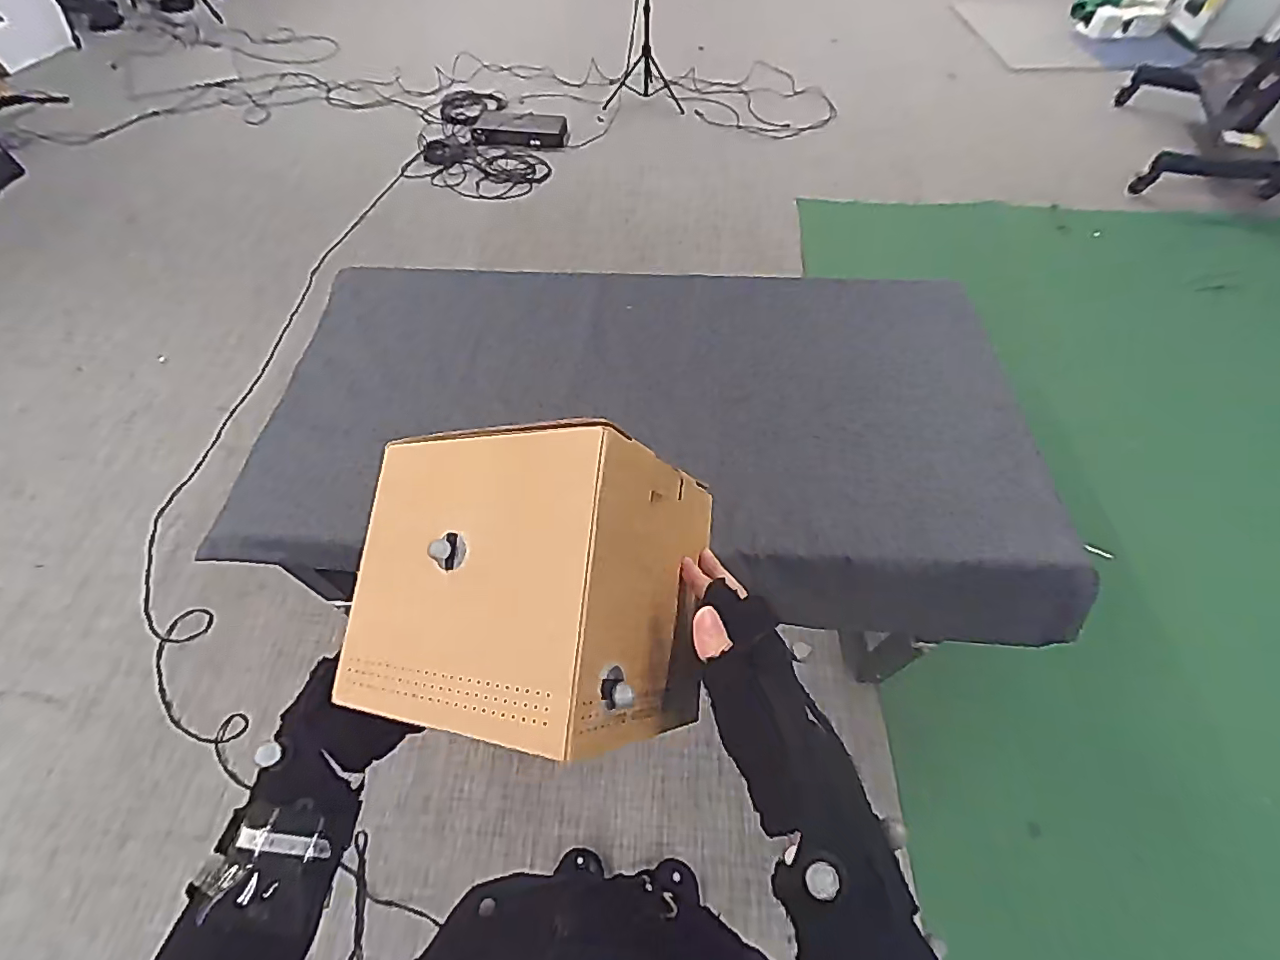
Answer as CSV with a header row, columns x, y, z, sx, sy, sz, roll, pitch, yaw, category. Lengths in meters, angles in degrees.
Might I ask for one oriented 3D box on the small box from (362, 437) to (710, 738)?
x,y,z,sx,sy,sz,roll,pitch,yaw,category
-0.062,0.079,0.390,0.179,0.168,0.176,-3,73,28,small box
